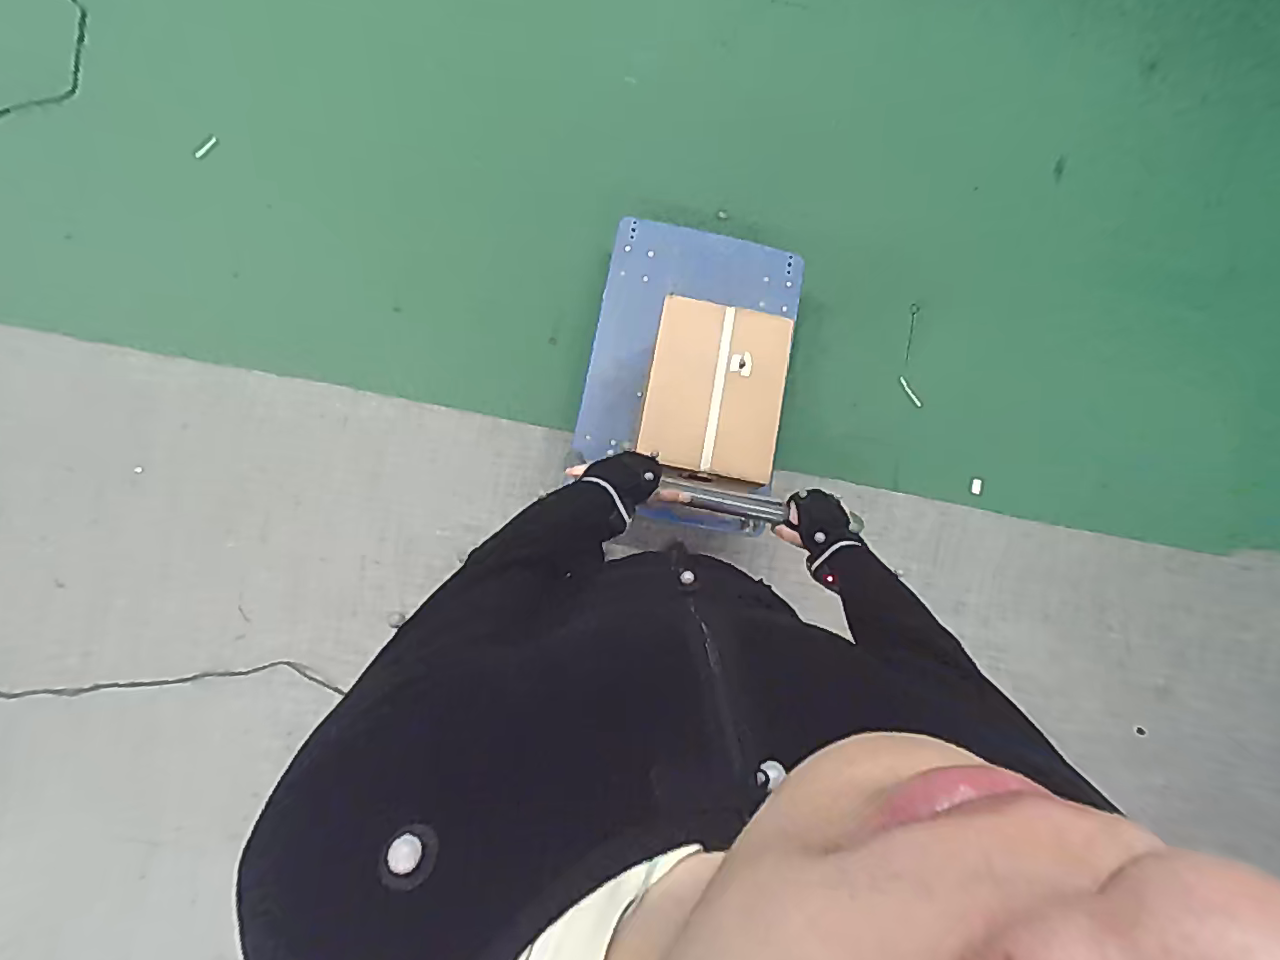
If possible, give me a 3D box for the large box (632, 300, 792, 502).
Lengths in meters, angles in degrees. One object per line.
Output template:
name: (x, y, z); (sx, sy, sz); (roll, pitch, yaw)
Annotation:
large box: (0.166, -0.176, 1.373); (0.320, 0.320, 0.408); (11, 80, -4)
